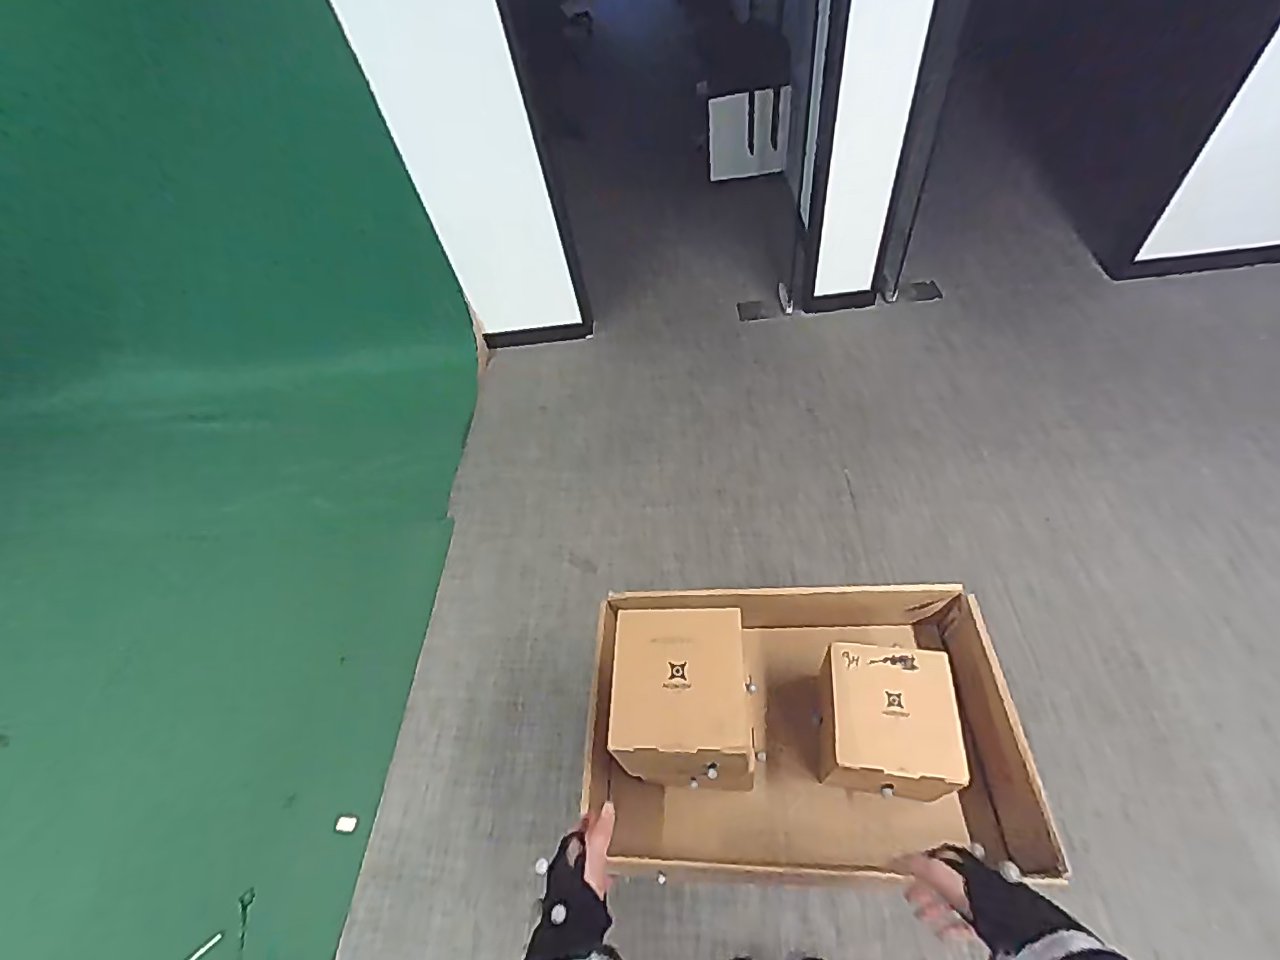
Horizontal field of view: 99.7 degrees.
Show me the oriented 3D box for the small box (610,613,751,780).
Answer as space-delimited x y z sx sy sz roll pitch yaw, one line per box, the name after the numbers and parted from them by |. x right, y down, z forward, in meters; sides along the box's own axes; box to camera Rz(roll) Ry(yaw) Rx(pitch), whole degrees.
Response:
0.062 0.296 0.732 0.168 0.176 0.179 -3 52 9 | small box
